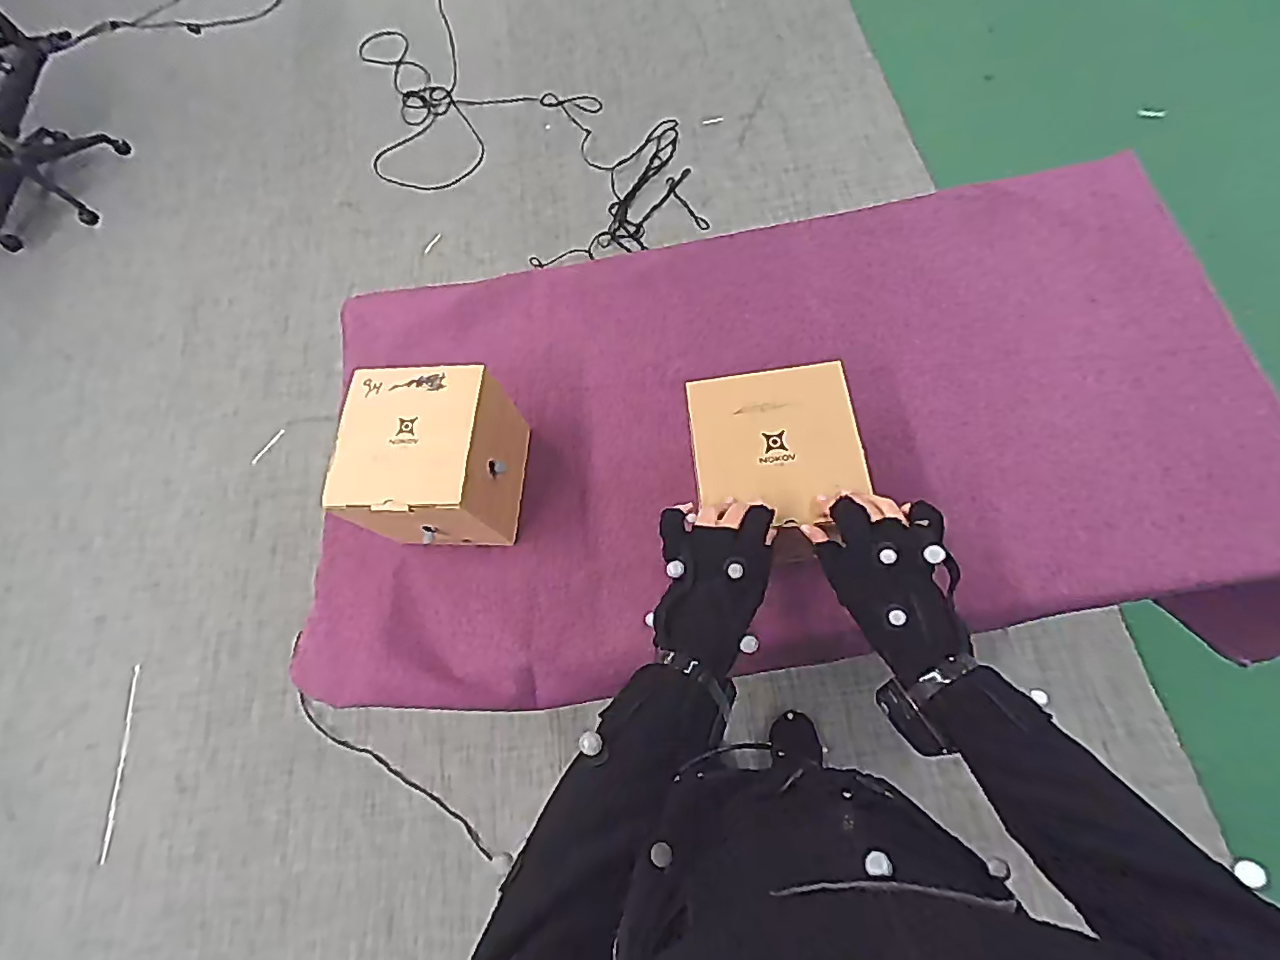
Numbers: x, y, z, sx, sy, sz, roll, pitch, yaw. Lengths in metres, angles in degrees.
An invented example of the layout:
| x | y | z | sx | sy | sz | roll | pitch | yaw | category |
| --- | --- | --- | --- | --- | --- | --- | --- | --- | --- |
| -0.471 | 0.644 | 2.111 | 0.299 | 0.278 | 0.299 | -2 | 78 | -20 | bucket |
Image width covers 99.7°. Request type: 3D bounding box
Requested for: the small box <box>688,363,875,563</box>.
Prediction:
| x | y | z | sx | sy | sz | roll | pitch | yaw | category |
| --- | --- | --- | --- | --- | --- | --- | --- | --- | --- |
| 0.148 | -0.006 | 0.619 | 0.168 | 0.176 | 0.179 | -6 | 69 | 6 | small box |

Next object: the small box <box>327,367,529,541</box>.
| x | y | z | sx | sy | sz | roll | pitch | yaw | category |
| --- | --- | --- | --- | --- | --- | --- | --- | --- | --- |
| -0.249 | -0.023 | 0.683 | 0.168 | 0.176 | 0.179 | 0 | 70 | 8 | small box |
